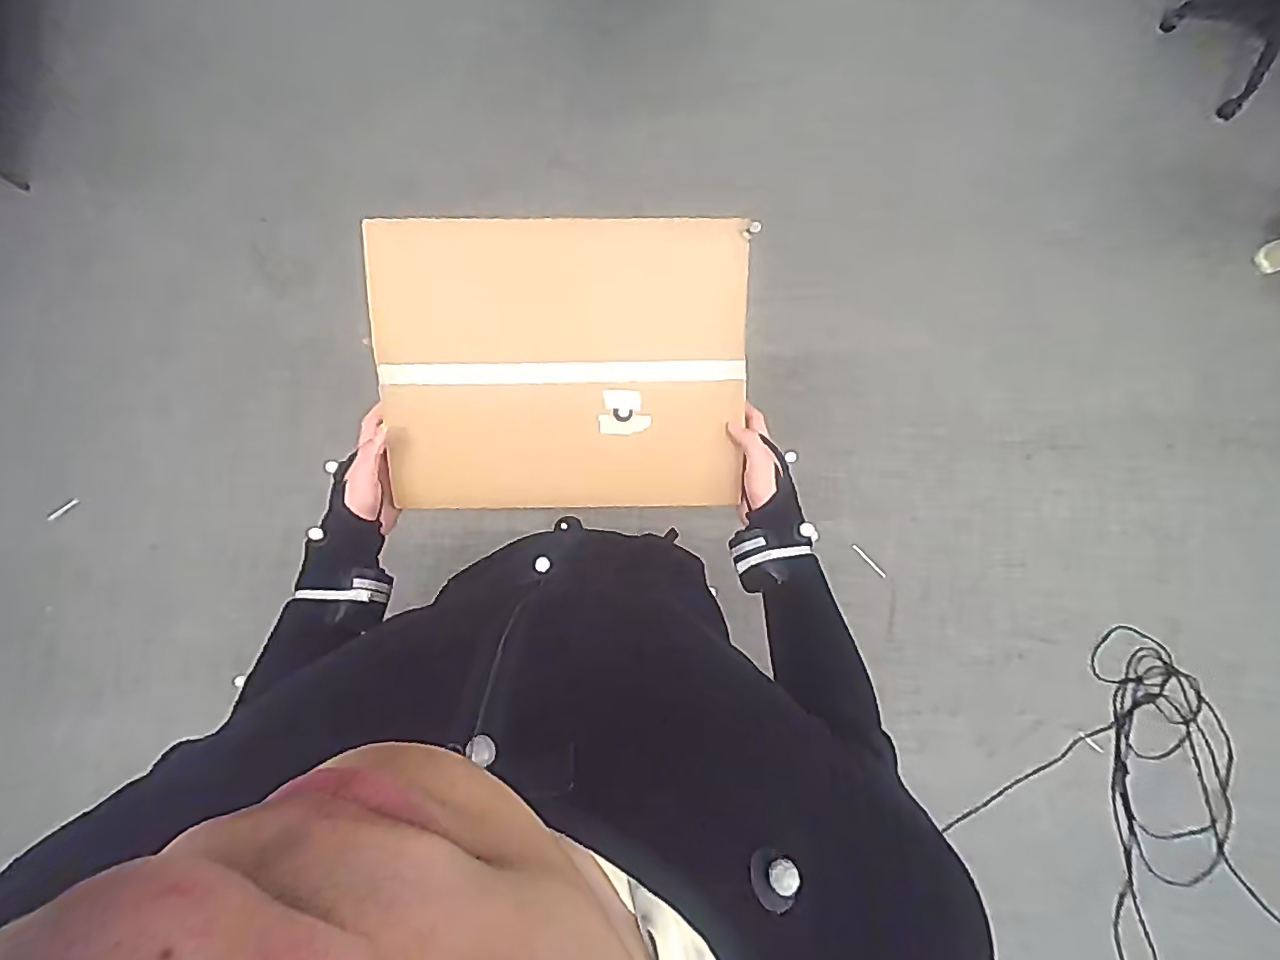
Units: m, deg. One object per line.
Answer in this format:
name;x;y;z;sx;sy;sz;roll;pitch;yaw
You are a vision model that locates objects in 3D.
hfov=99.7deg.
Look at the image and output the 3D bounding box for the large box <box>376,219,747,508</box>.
large box;-0.086;-0.155;0.752;0.408;0.320;0.320;-2;103;-2
